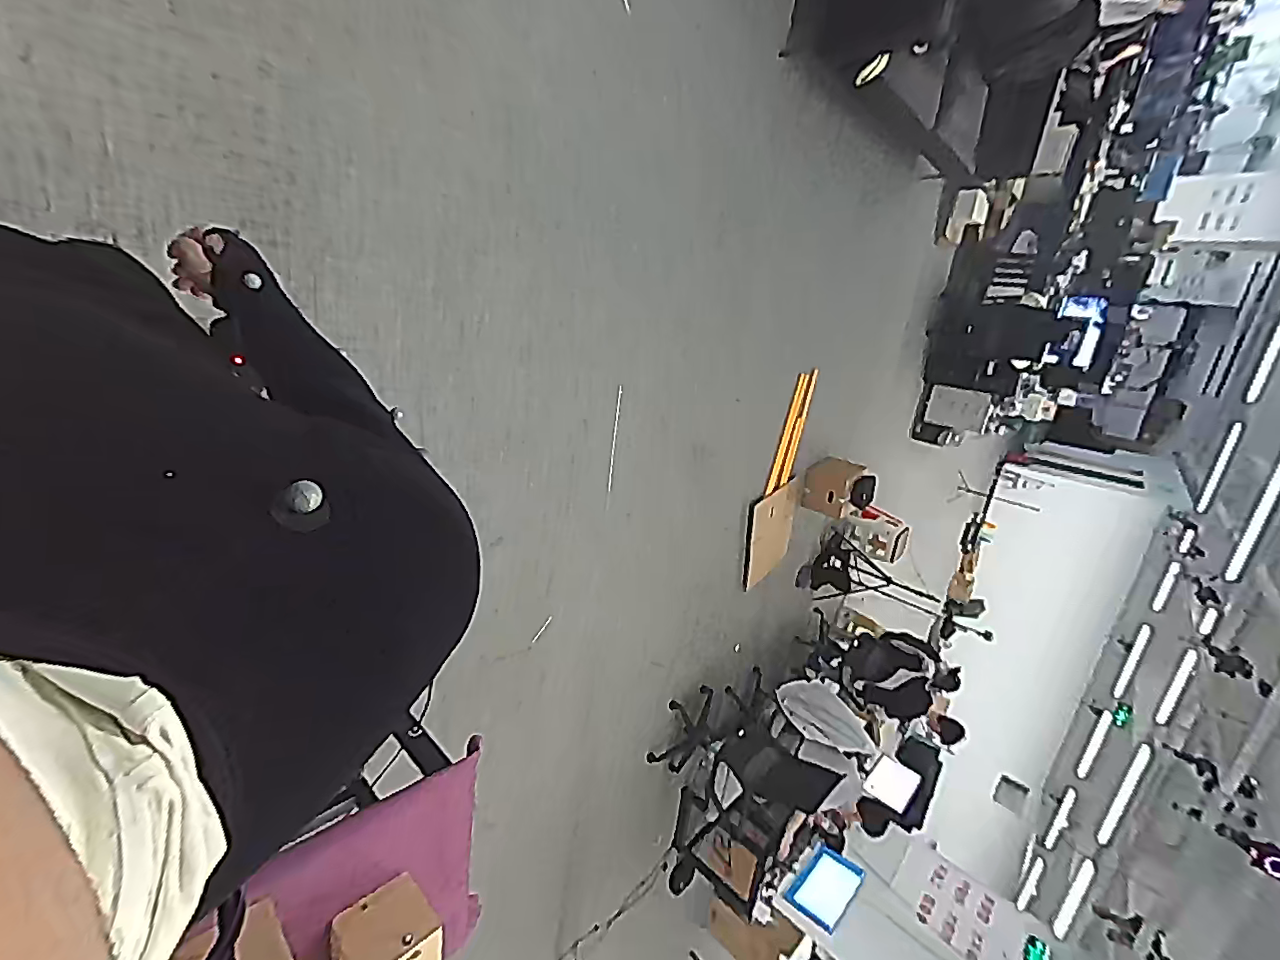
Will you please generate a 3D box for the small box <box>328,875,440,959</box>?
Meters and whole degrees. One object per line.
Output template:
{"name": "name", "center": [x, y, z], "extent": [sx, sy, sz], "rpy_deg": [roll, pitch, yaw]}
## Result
{"name": "small box", "center": [-0.548, 1.011, 1.156], "extent": [0.168, 0.176, 0.179], "rpy_deg": [-11, 115, -48]}
